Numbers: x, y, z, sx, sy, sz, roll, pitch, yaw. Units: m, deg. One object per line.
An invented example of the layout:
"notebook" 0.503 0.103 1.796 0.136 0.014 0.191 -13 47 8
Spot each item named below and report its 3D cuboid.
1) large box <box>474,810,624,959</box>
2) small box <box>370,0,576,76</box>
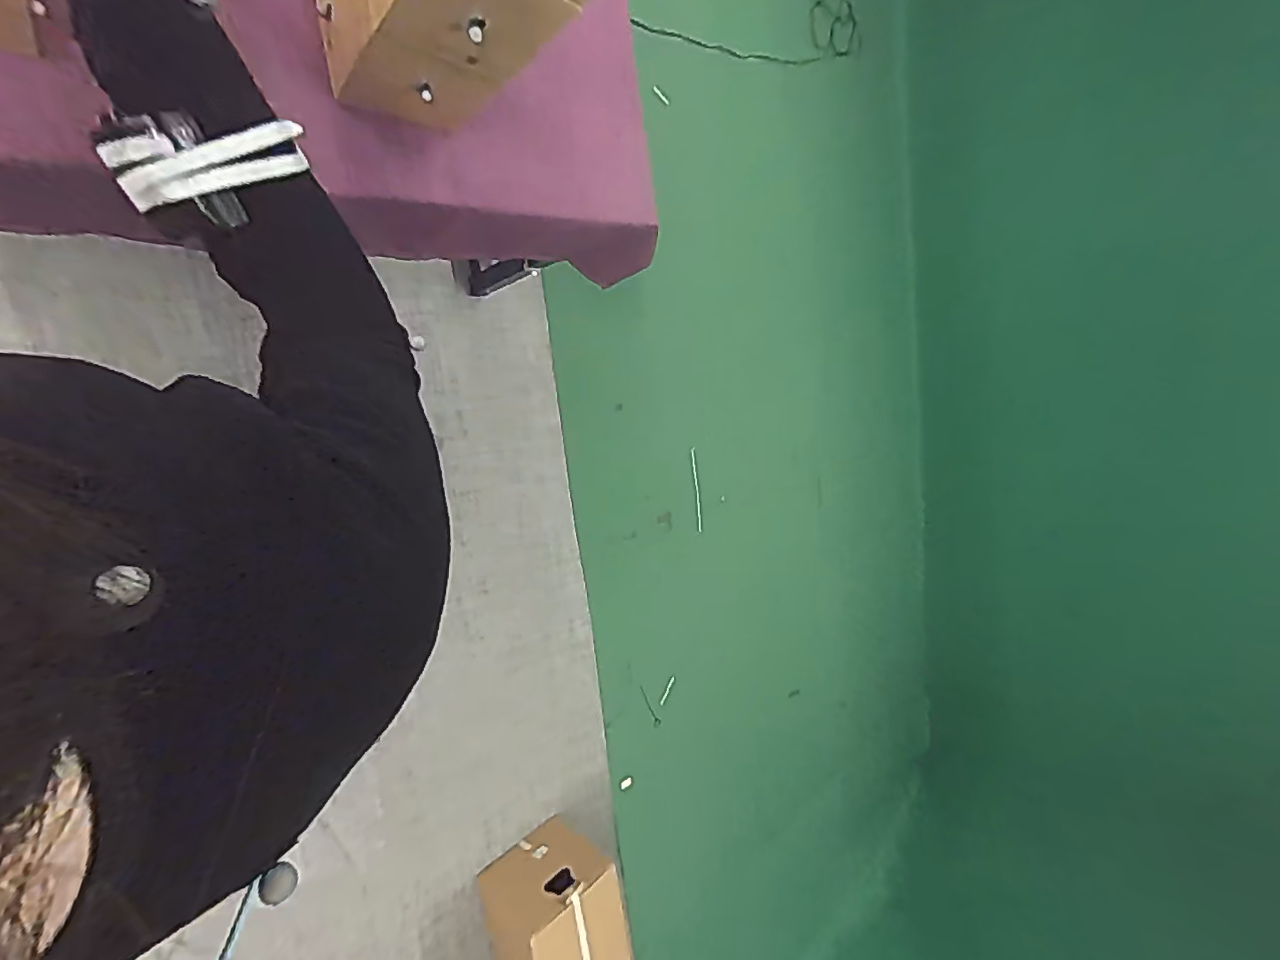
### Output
"large box" -0.288 1.376 1.715 0.320 0.320 0.408 -16 104 -42
"small box" -0.189 -0.588 0.583 0.168 0.176 0.179 -10 99 -43
